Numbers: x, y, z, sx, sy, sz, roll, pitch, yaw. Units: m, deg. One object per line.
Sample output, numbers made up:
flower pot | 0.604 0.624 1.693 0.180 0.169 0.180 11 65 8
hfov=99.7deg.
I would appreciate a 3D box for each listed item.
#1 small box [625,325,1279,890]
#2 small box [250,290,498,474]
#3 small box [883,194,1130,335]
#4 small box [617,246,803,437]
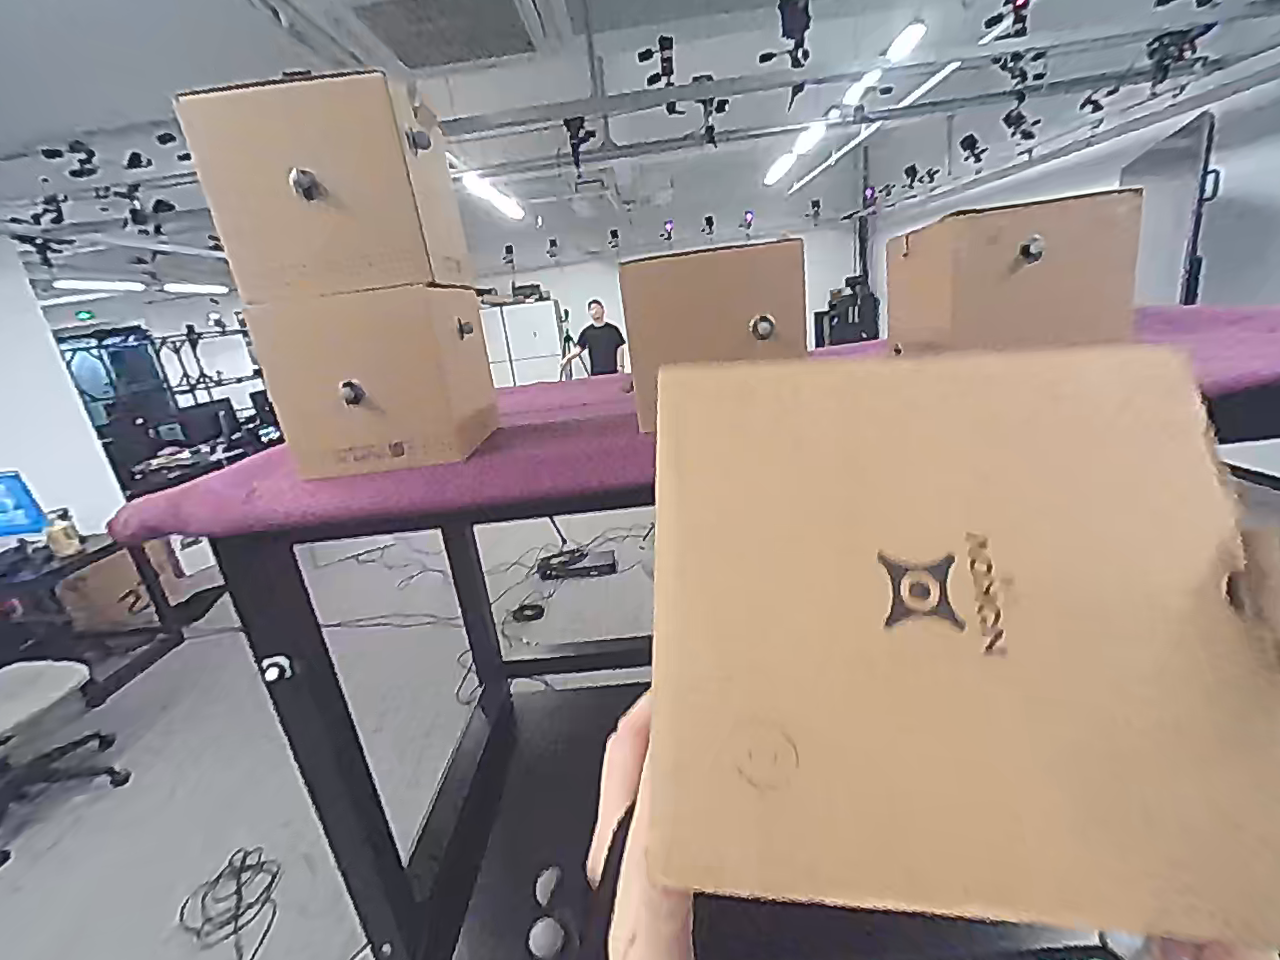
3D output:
small box | 0.096 0.051 0.246 0.179 0.168 0.176 -1 -19 8
small box | -0.264 -0.107 0.588 0.168 0.176 0.179 -6 17 1
small box | 0.396 -0.199 0.611 0.179 0.176 0.168 -6 15 5
small box | 0.075 -0.151 0.602 0.179 0.176 0.168 -8 16 2
